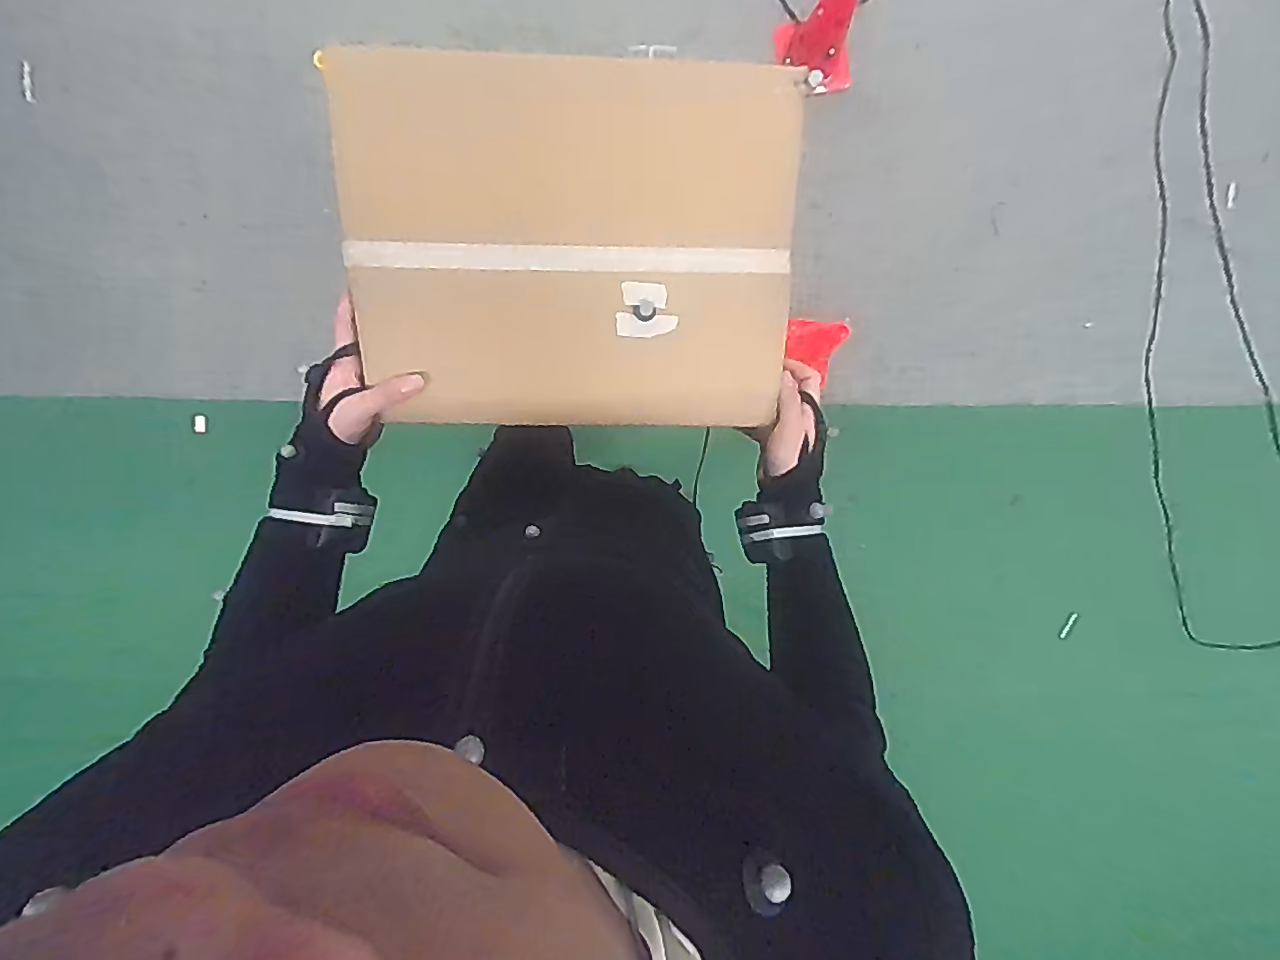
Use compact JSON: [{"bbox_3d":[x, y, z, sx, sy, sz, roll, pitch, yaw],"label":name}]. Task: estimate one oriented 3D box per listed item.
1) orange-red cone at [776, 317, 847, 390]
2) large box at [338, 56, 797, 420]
[{"bbox_3d":[0.459,-0.357,1.427,0.199,0.360,0.198,8,95,-4],"label":"orange-red cone"},{"bbox_3d":[-0.069,-0.252,0.650,0.408,0.320,0.320,0,107,-4],"label":"large box"}]
